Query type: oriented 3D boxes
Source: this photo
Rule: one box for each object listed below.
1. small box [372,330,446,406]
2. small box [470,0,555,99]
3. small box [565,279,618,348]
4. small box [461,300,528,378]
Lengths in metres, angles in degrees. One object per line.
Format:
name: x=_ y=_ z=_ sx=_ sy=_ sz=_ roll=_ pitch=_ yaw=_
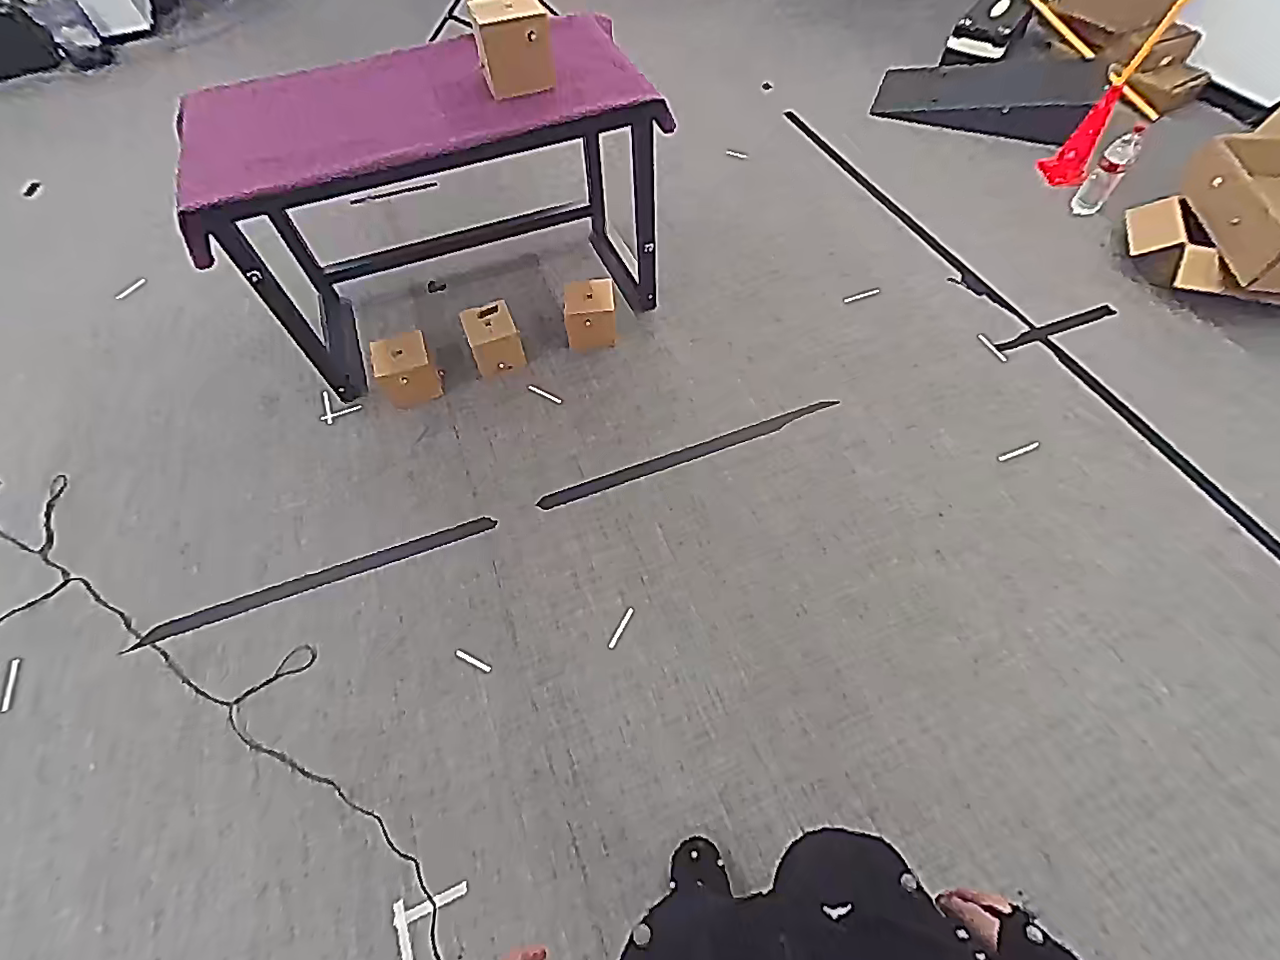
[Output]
small box: x=-0.785 y=-0.376 z=1.845 sx=0.179 sy=0.176 sz=0.168 roll=-17 pitch=61 yaw=-9
small box: x=-0.332 y=-1.155 z=1.439 sx=0.179 sy=0.176 sz=0.168 roll=-19 pitch=60 yaw=-8
small box: x=-0.171 y=-0.599 z=1.953 sx=0.179 sy=0.176 sz=0.168 roll=-6 pitch=60 yaw=0
small box: x=-0.508 y=-0.493 z=1.902 sx=0.168 sy=0.176 sz=0.179 roll=-21 pitch=62 yaw=-9
